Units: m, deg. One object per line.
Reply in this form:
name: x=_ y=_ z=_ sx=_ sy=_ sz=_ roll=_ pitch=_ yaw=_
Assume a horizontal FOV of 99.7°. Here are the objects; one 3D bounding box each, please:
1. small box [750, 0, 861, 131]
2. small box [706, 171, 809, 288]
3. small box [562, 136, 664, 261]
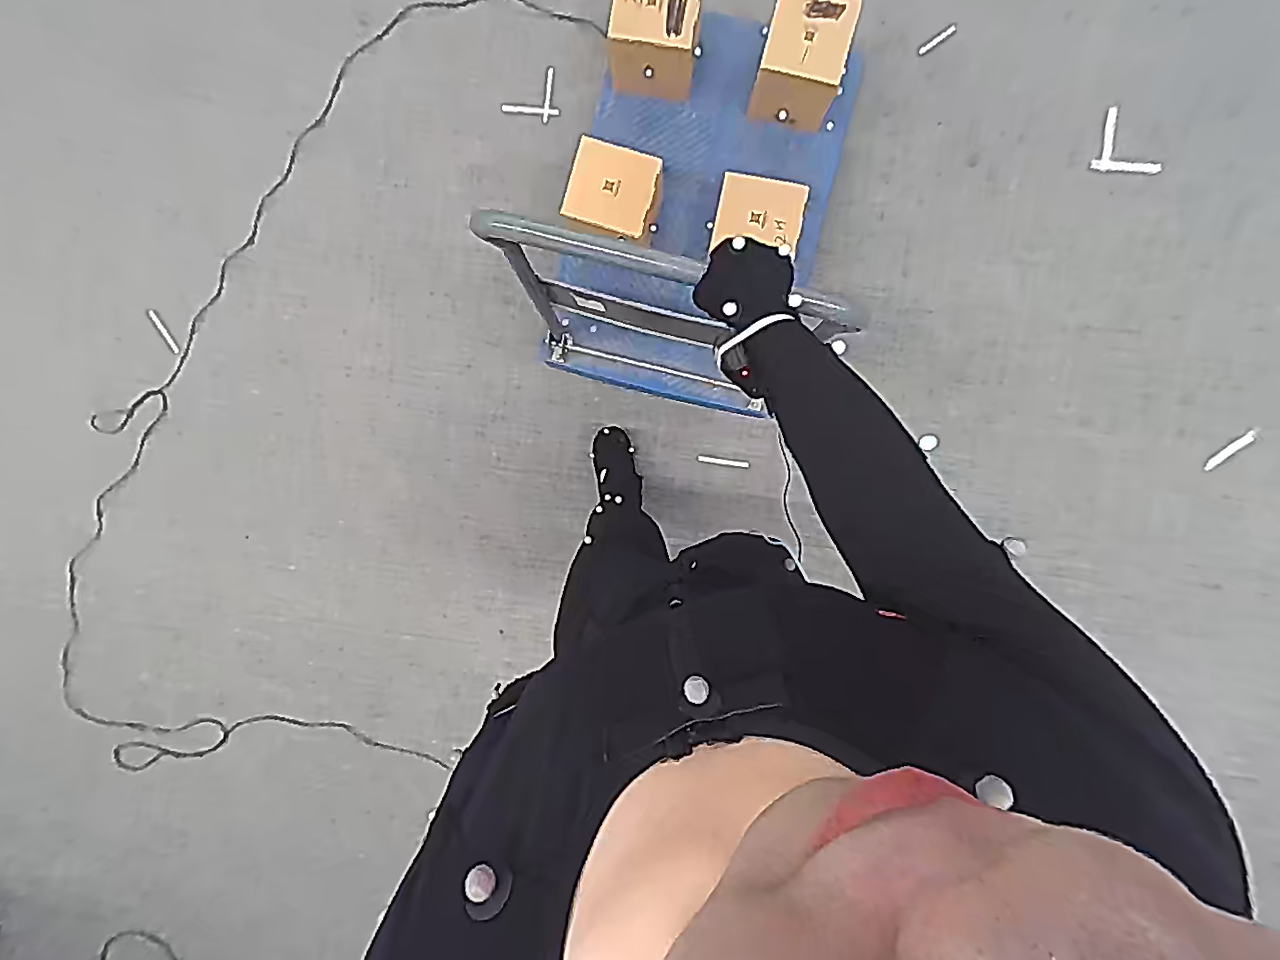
small box: x=0.344 y=-0.899 z=1.158 sx=0.168 sy=0.176 sz=0.179 roll=15 pitch=94 yaw=2
small box: x=0.246 y=-0.535 z=1.179 sx=0.179 sy=0.176 sz=0.168 roll=12 pitch=93 yaw=2
small box: x=-0.056 y=-0.606 z=1.188 sx=0.179 sy=0.176 sz=0.168 roll=16 pitch=92 yaw=0
